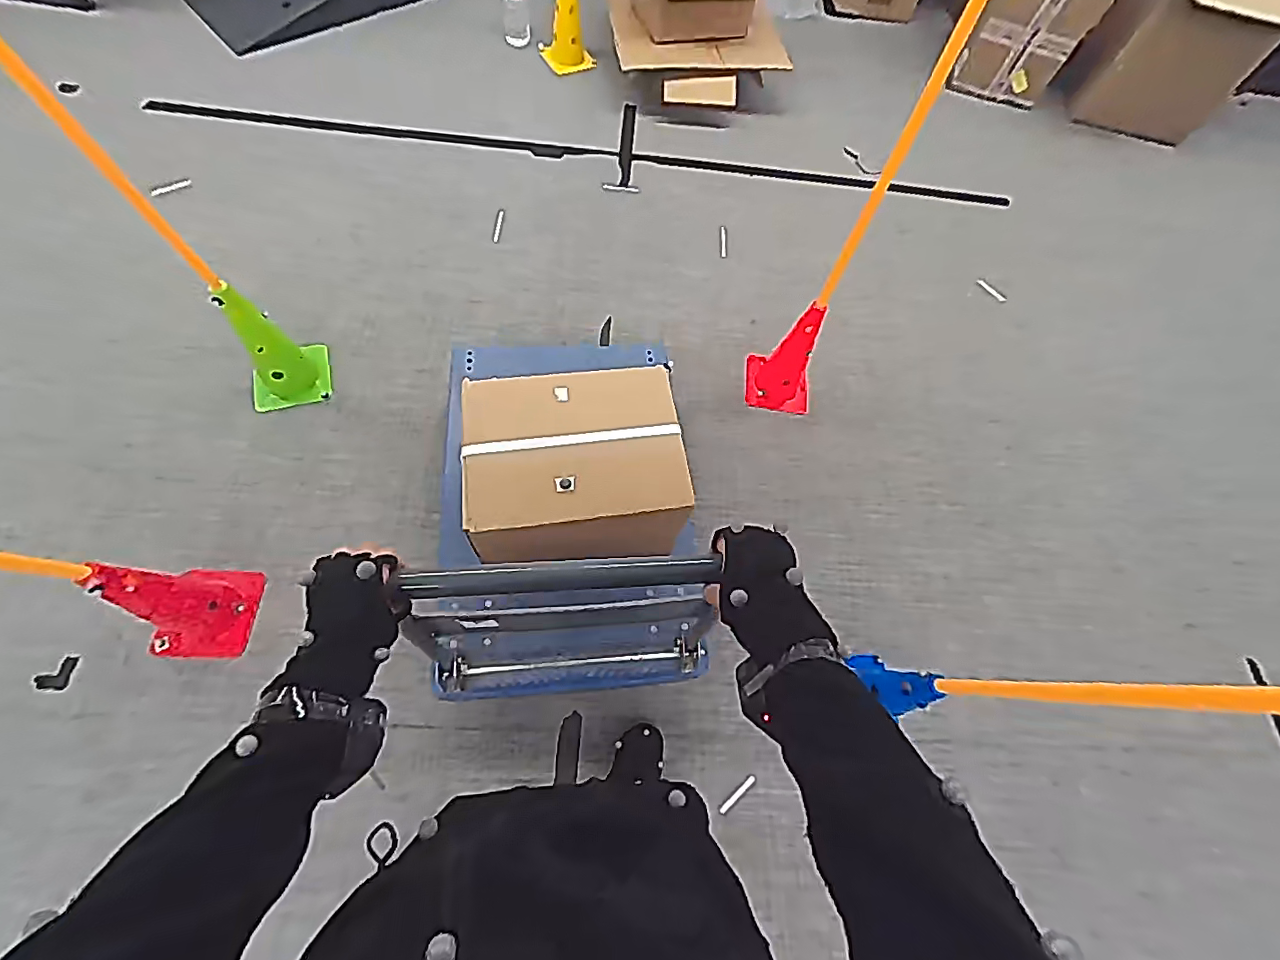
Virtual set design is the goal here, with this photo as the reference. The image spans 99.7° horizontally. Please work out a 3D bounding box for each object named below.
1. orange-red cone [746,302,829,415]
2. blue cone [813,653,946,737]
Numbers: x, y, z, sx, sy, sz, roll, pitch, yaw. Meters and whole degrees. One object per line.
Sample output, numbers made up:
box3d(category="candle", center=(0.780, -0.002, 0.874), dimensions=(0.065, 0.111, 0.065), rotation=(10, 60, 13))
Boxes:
box3d(category="orange-red cone", center=(0.455, -0.374, 1.553), dimensions=(0.199, 0.360, 0.198), rotation=(11, 65, -2))
box3d(category="blue cone", center=(0.548, 0.455, 1.187), dimensions=(0.193, 0.380, 0.192), rotation=(1, 64, -6))
